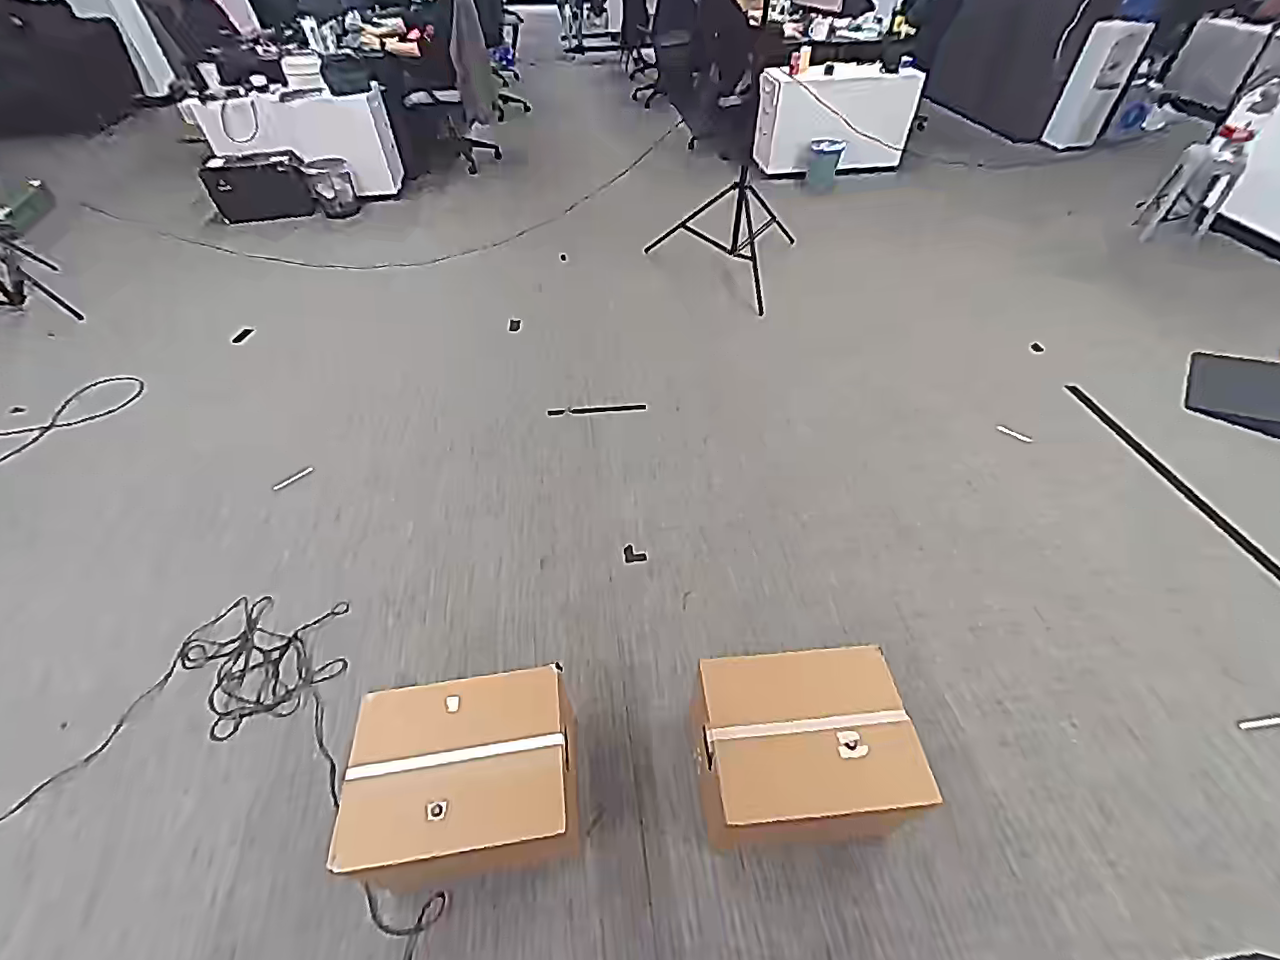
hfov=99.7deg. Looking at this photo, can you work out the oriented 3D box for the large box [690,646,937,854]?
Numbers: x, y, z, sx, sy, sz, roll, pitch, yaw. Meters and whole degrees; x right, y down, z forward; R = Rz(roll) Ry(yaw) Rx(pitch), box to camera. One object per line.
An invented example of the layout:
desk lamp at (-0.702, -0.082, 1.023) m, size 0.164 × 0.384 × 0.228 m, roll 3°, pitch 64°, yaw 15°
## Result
large box at (0.341, 0.597, 1.197) m, size 0.408 × 0.320 × 0.320 m, roll -3°, pitch 47°, yaw -4°
